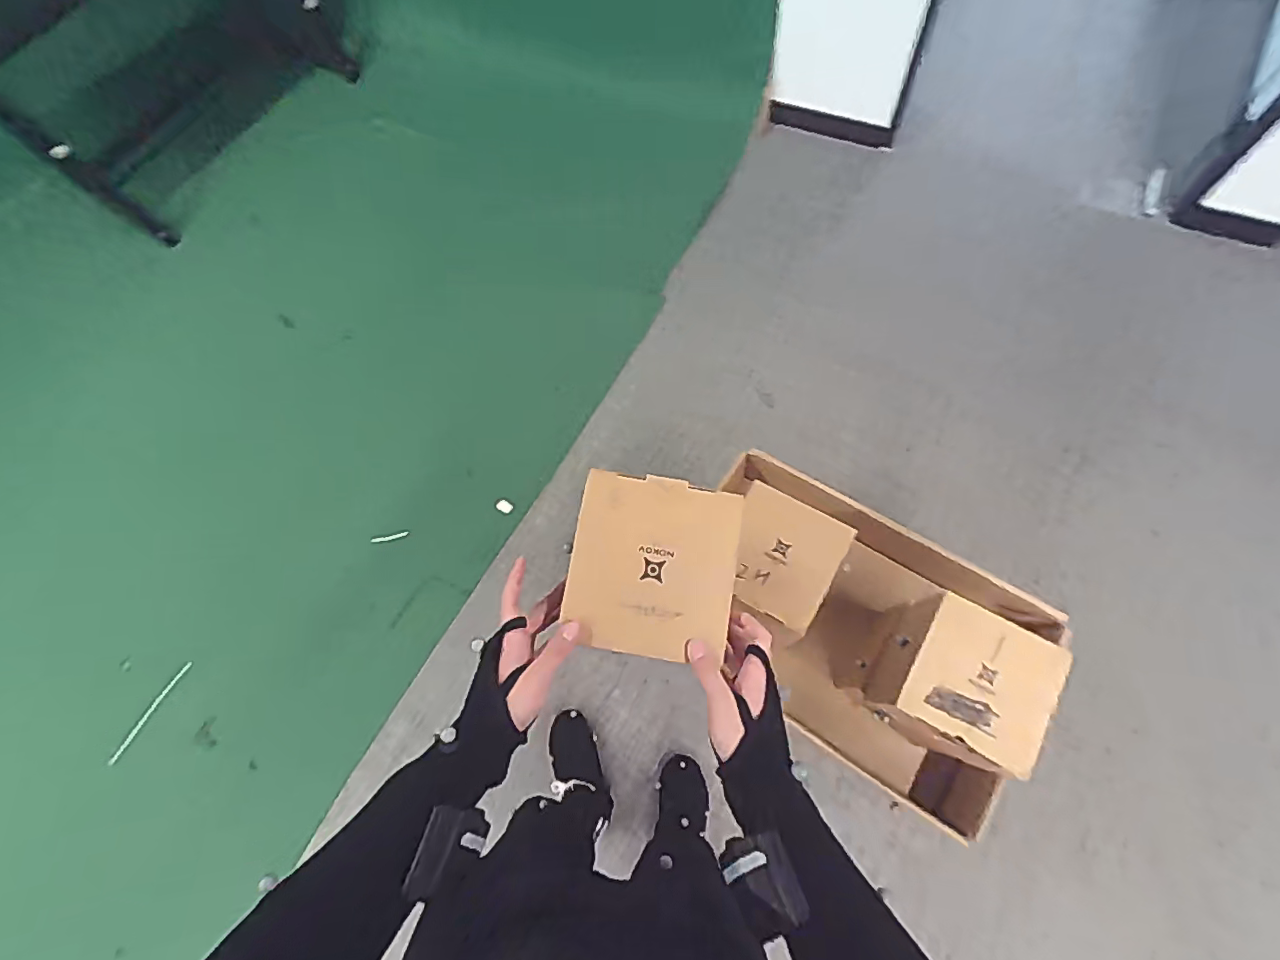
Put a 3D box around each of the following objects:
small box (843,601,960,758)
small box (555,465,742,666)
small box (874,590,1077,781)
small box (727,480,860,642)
[{"bbox_3d":[0.471,0.334,0.921,0.168,0.176,0.179,34,78,17],"label":"small box"},{"bbox_3d":[0.007,0.097,0.611,0.168,0.176,0.179,10,79,0],"label":"small box"},{"bbox_3d":[0.454,0.284,0.765,0.168,0.176,0.179,29,75,16],"label":"small box"},{"bbox_3d":[0.214,0.134,0.854,0.168,0.176,0.179,29,75,18],"label":"small box"}]
